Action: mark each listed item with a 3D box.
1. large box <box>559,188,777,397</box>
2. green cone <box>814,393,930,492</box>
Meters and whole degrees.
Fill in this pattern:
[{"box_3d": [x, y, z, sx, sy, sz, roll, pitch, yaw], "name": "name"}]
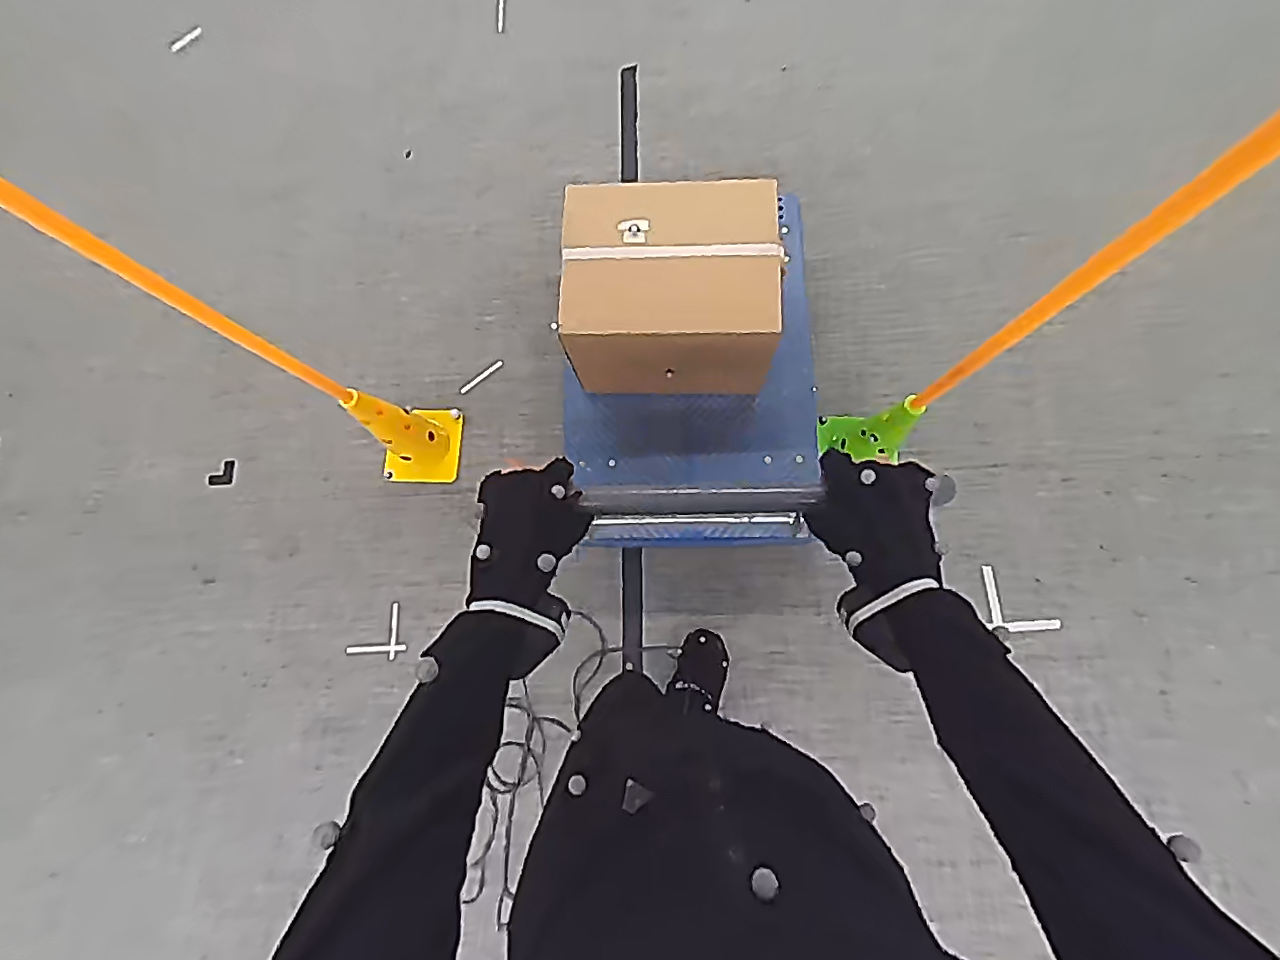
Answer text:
[{"box_3d": [0.062, -0.373, 1.153, 0.408, 0.320, 0.320, 0, 78, 5], "name": "large box"}, {"box_3d": [0.538, -0.105, 1.206, 0.202, 0.368, 0.200, 2, 78, 3], "name": "green cone"}]
